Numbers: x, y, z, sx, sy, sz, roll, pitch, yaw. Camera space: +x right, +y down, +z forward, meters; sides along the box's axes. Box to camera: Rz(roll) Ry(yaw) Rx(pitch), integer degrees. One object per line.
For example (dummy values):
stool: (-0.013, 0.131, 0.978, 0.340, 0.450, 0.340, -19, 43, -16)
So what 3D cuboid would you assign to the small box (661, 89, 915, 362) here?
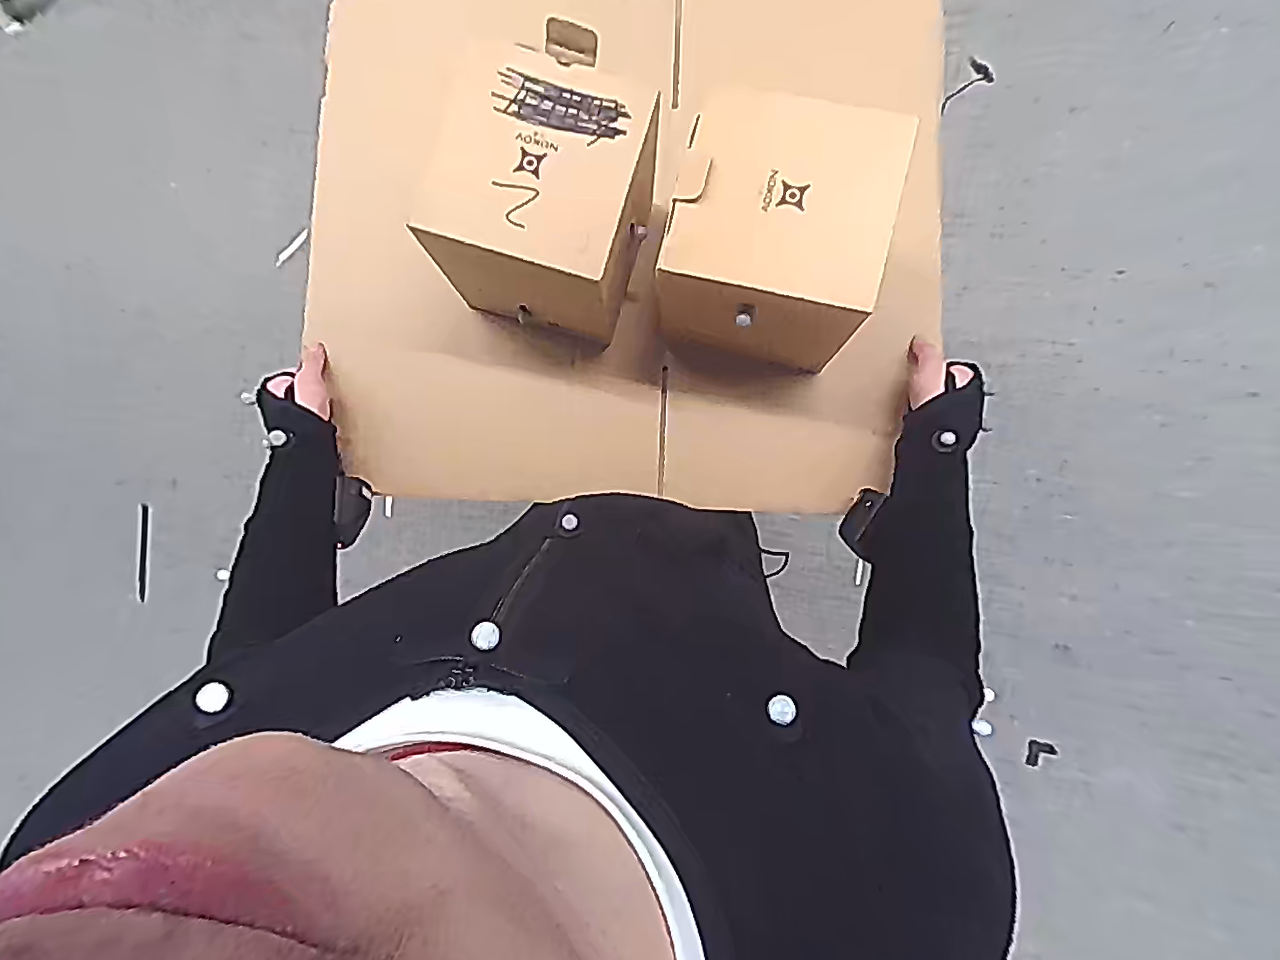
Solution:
small box: (0.128, -0.225, 0.522, 0.179, 0.176, 0.168, 14, 87, 7)
